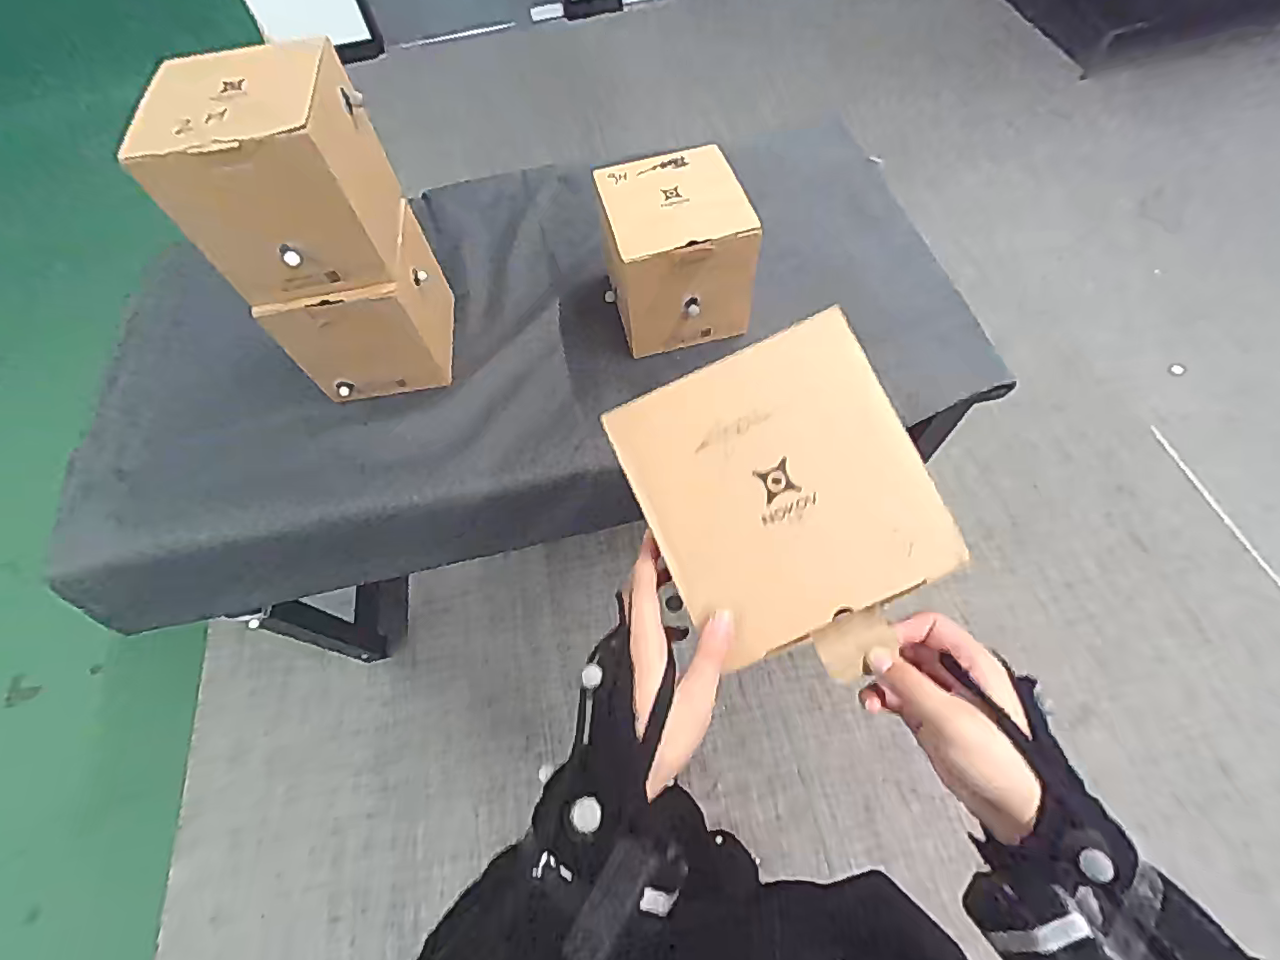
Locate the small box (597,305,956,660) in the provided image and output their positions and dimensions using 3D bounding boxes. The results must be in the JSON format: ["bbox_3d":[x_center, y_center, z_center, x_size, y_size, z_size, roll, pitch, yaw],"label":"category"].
[{"bbox_3d":[0.088,0.008,0.411,0.168,0.176,0.179,-26,80,2],"label":"small box"}]

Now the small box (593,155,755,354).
[{"bbox_3d":[0.044,-0.289,0.725,0.168,0.176,0.179,-14,62,-3],"label":"small box"}]

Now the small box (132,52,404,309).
[{"bbox_3d":[-0.374,-0.316,0.585,0.168,0.176,0.179,-11,61,-1],"label":"small box"}]

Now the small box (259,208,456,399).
[{"bbox_3d":[-0.357,-0.224,0.722,0.168,0.176,0.179,-9,60,0],"label":"small box"}]
